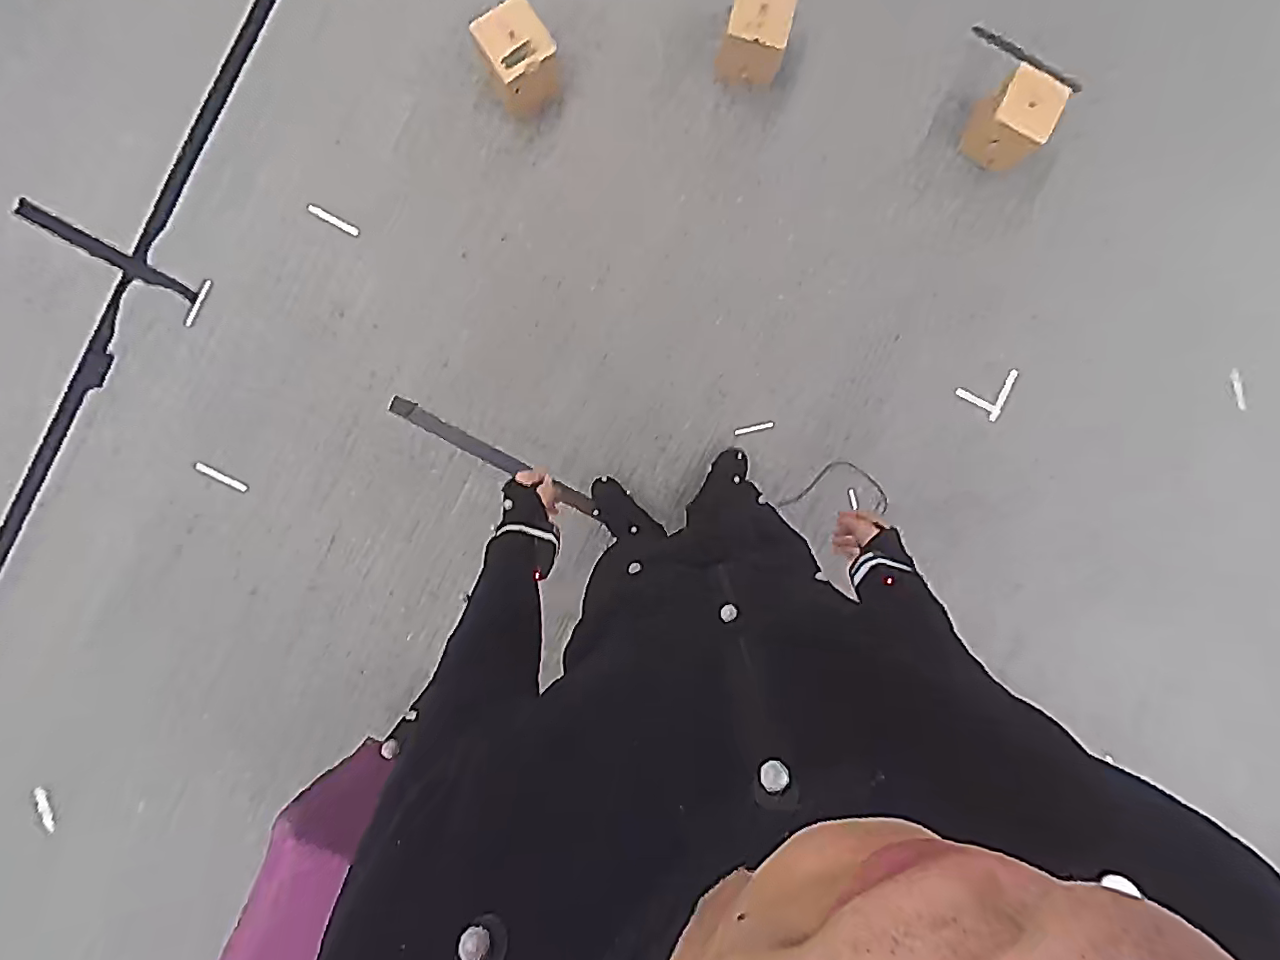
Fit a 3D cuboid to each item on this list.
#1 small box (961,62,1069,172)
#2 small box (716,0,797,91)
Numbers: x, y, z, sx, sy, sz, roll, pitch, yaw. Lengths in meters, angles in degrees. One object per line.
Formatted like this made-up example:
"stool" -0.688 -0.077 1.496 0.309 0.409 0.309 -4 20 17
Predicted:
"small box" 1.078 -1.044 1.573 0.168 0.176 0.179 25 90 -4
"small box" 0.321 -1.250 1.518 0.168 0.176 0.179 13 92 -4
